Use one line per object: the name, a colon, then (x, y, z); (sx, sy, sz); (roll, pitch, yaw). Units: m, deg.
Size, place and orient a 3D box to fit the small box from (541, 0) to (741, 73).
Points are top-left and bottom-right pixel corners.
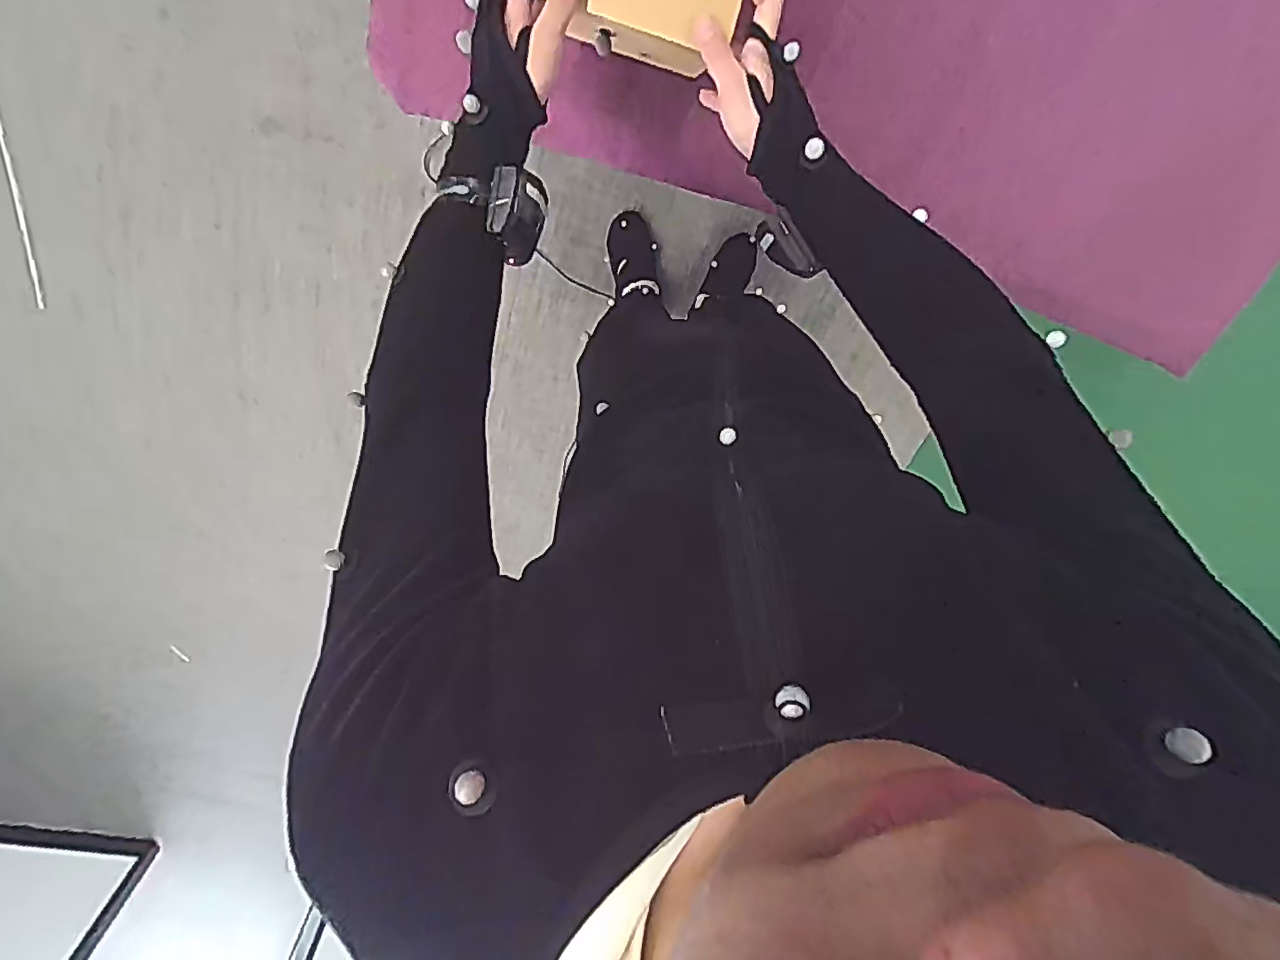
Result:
small box: (0.014, -0.486, 0.470); (0.168, 0.176, 0.179); (11, 120, -10)
